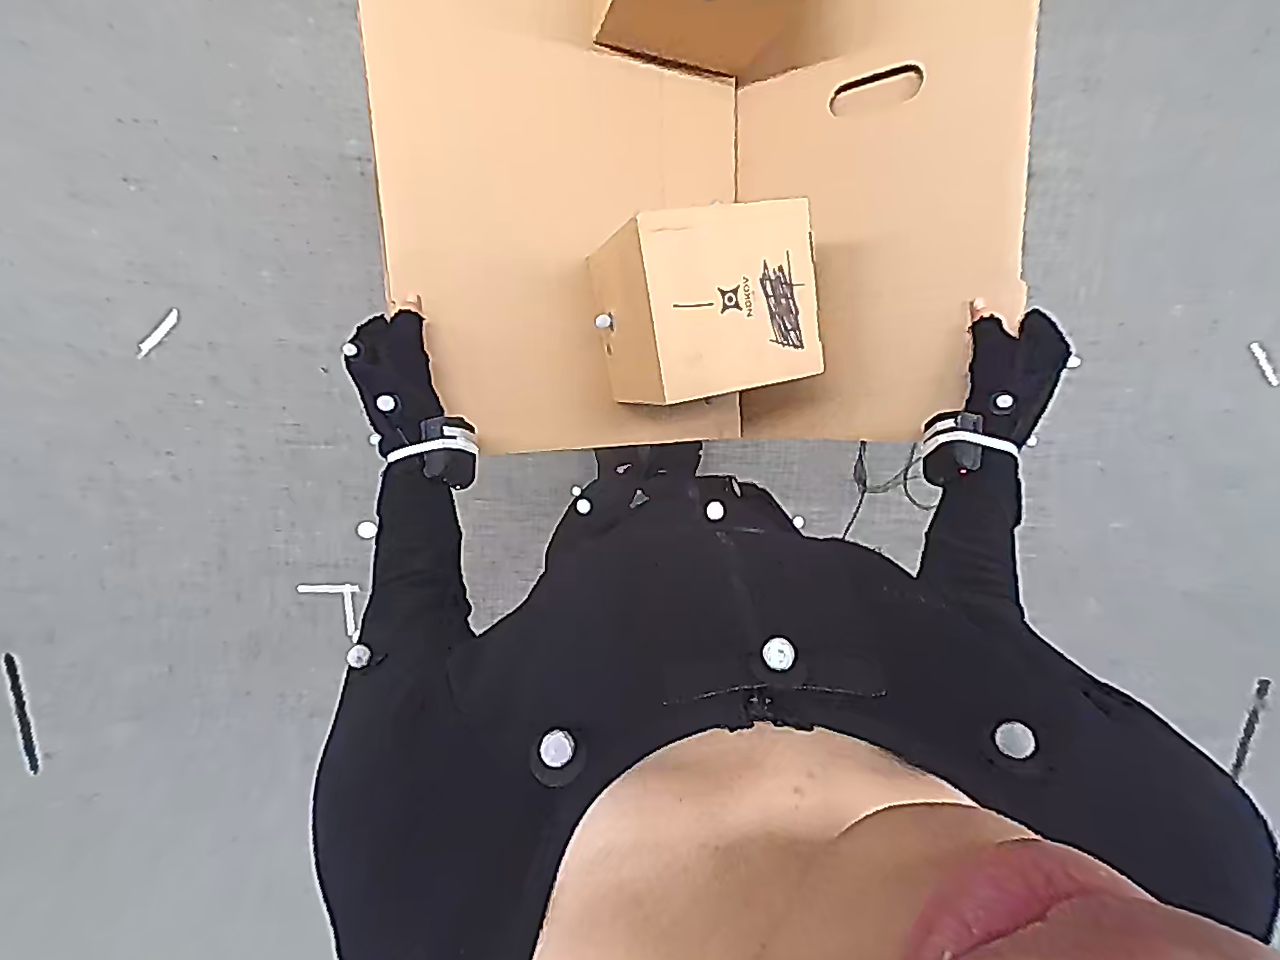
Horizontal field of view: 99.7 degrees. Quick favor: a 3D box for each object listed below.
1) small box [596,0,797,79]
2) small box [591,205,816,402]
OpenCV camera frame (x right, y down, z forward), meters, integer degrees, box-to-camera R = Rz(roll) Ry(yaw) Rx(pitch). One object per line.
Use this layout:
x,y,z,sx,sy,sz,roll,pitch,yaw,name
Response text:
0.059,-0.538,0.529,0.179,0.176,0.168,-1,99,-20,small box
0.062,-0.182,0.585,0.179,0.176,0.168,-13,103,-17,small box
